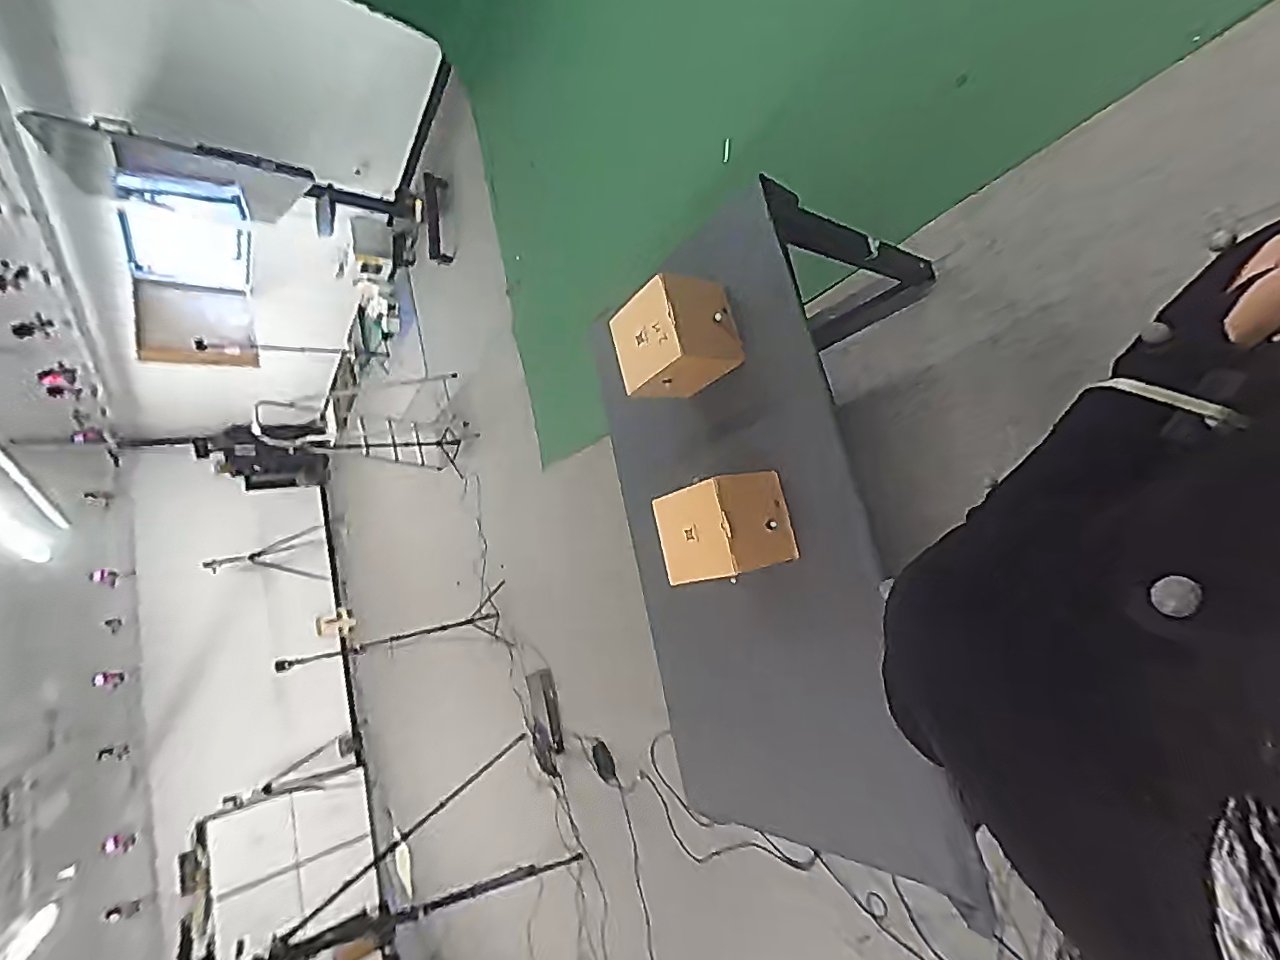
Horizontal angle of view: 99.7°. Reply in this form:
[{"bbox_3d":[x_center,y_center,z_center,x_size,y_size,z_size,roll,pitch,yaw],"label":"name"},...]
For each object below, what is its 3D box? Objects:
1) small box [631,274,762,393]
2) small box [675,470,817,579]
[{"bbox_3d":[0.110,-0.279,1.075,0.179,0.176,0.168,-28,72,52],"label":"small box"},{"bbox_3d":[0.195,0.084,1.009,0.179,0.176,0.168,-26,73,52],"label":"small box"}]
